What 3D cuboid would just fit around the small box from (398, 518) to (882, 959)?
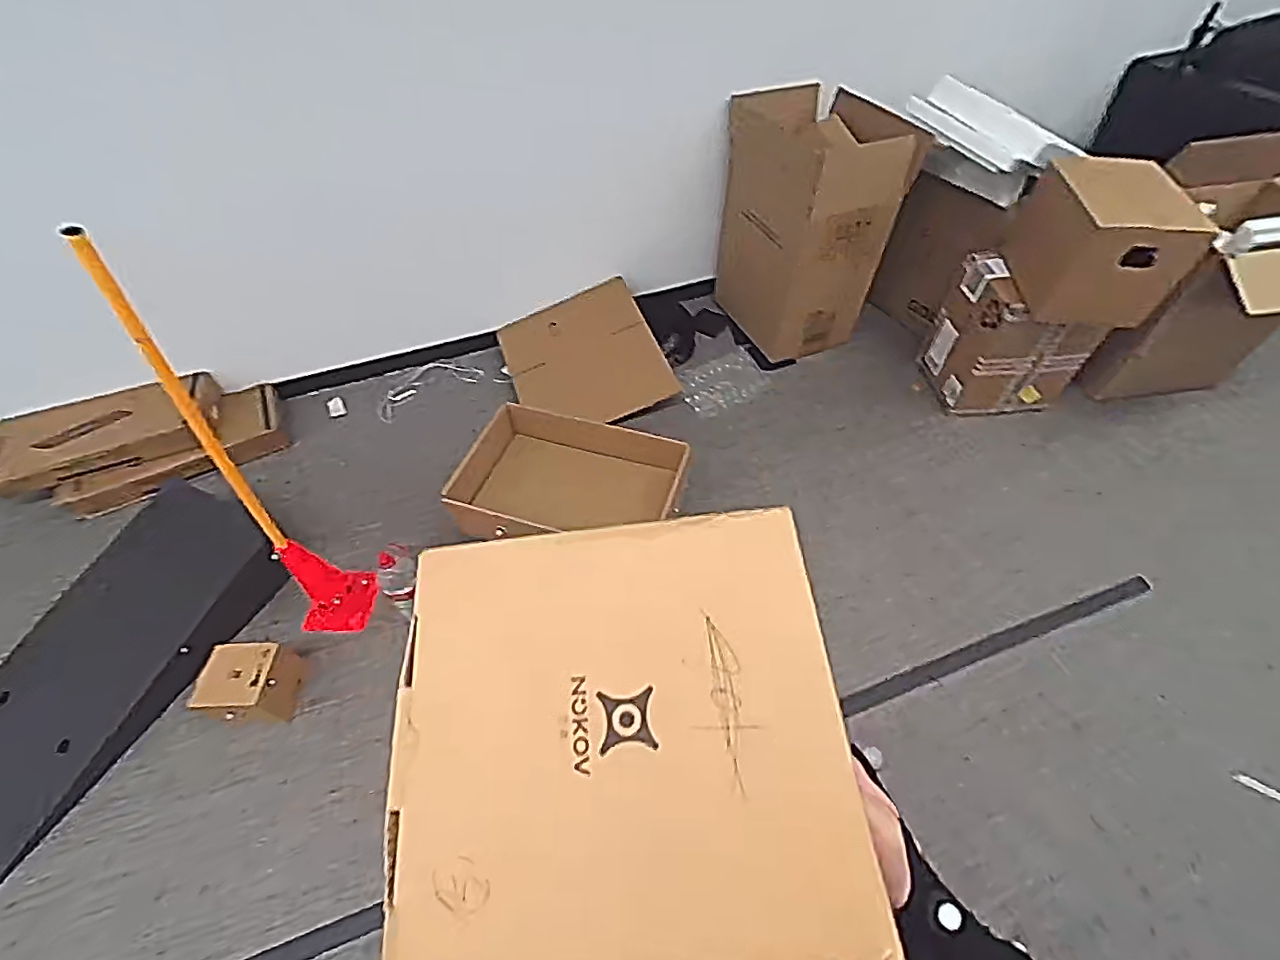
[{"bbox_3d":[-0.002,0.136,0.296,0.179,0.176,0.168,-6,63,0],"label":"small box"}]
